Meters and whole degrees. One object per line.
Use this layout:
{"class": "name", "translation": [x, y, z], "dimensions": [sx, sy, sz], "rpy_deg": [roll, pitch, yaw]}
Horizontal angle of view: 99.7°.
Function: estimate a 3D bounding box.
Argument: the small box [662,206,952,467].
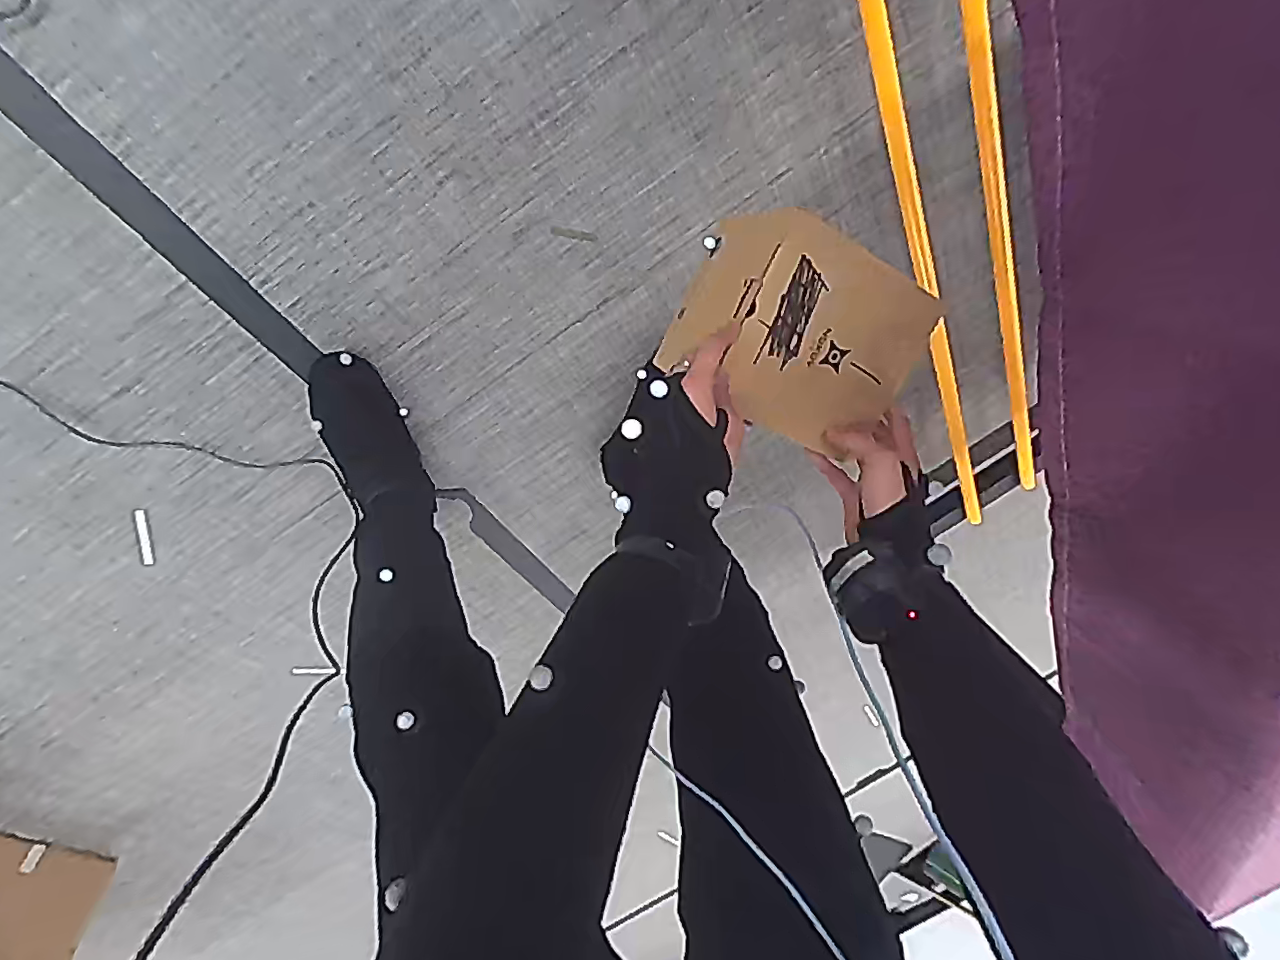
{"class": "small box", "translation": [0.143, -0.139, 0.529], "dimensions": [0.179, 0.176, 0.168], "rpy_deg": [21, 106, -22]}
